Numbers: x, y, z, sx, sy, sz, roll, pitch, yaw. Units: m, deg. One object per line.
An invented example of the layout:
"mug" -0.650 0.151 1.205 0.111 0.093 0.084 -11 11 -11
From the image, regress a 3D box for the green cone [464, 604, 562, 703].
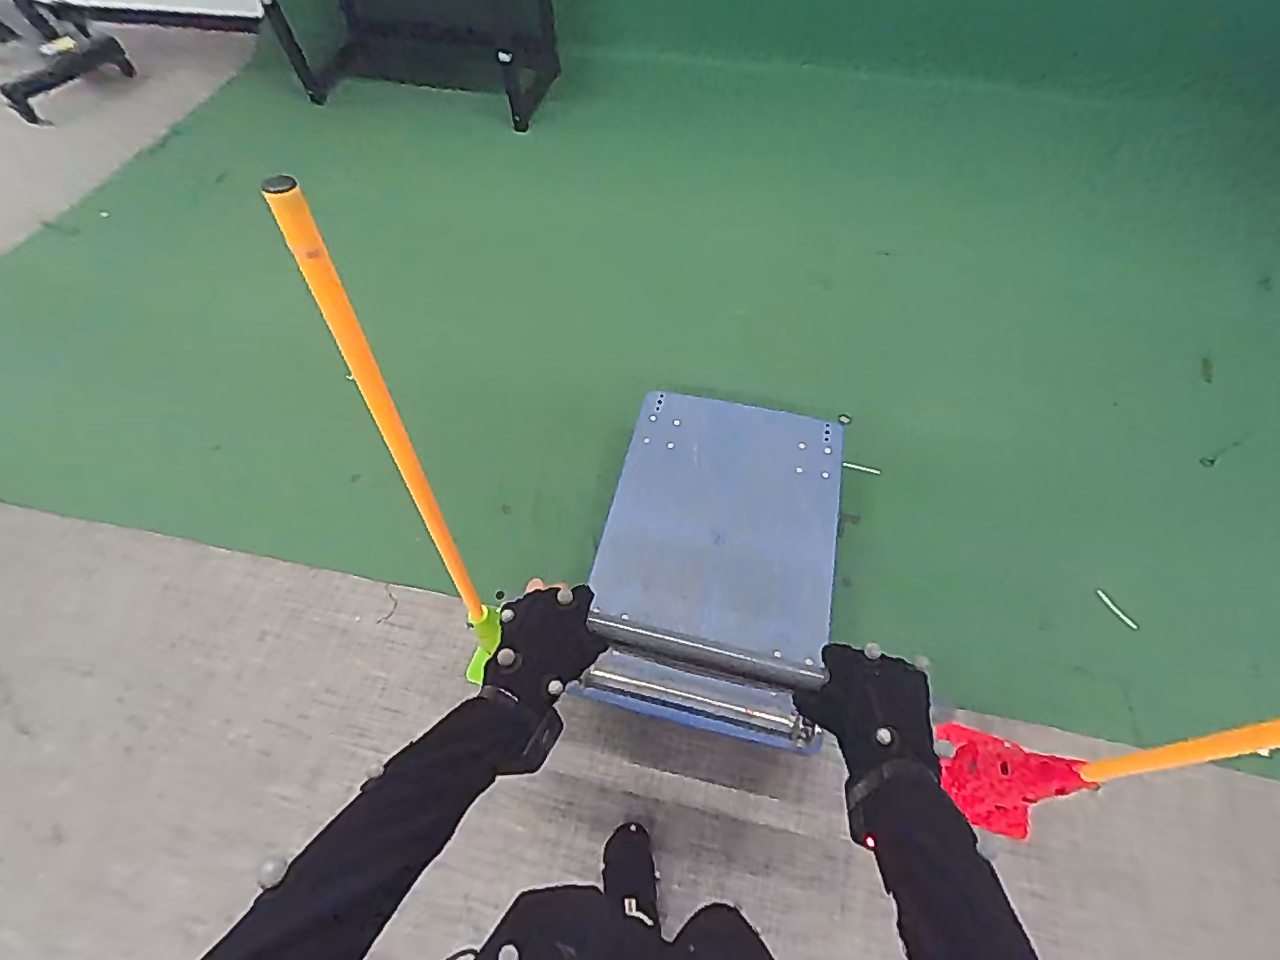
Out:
"green cone" -0.328 0.364 1.256 0.202 0.368 0.200 14 60 11
